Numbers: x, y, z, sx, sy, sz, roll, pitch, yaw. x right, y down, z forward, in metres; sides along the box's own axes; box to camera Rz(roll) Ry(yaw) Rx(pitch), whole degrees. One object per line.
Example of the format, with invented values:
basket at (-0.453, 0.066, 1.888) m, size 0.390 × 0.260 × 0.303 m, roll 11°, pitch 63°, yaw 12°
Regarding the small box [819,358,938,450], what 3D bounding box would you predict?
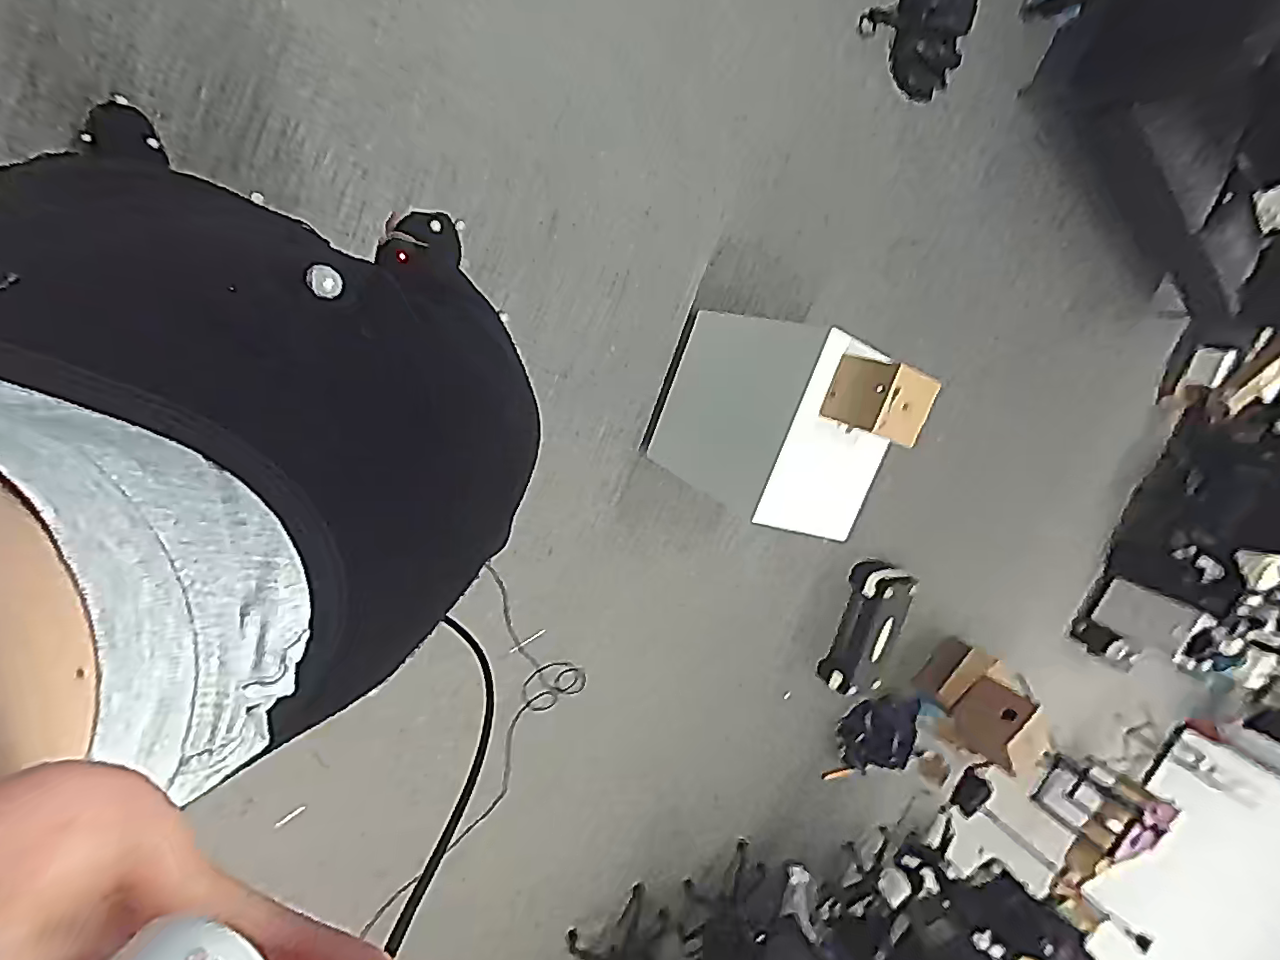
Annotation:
small box at (0.576, -0.188, 1.317) m, size 0.179 × 0.176 × 0.168 m, roll 11°, pitch 104°, yaw -34°
